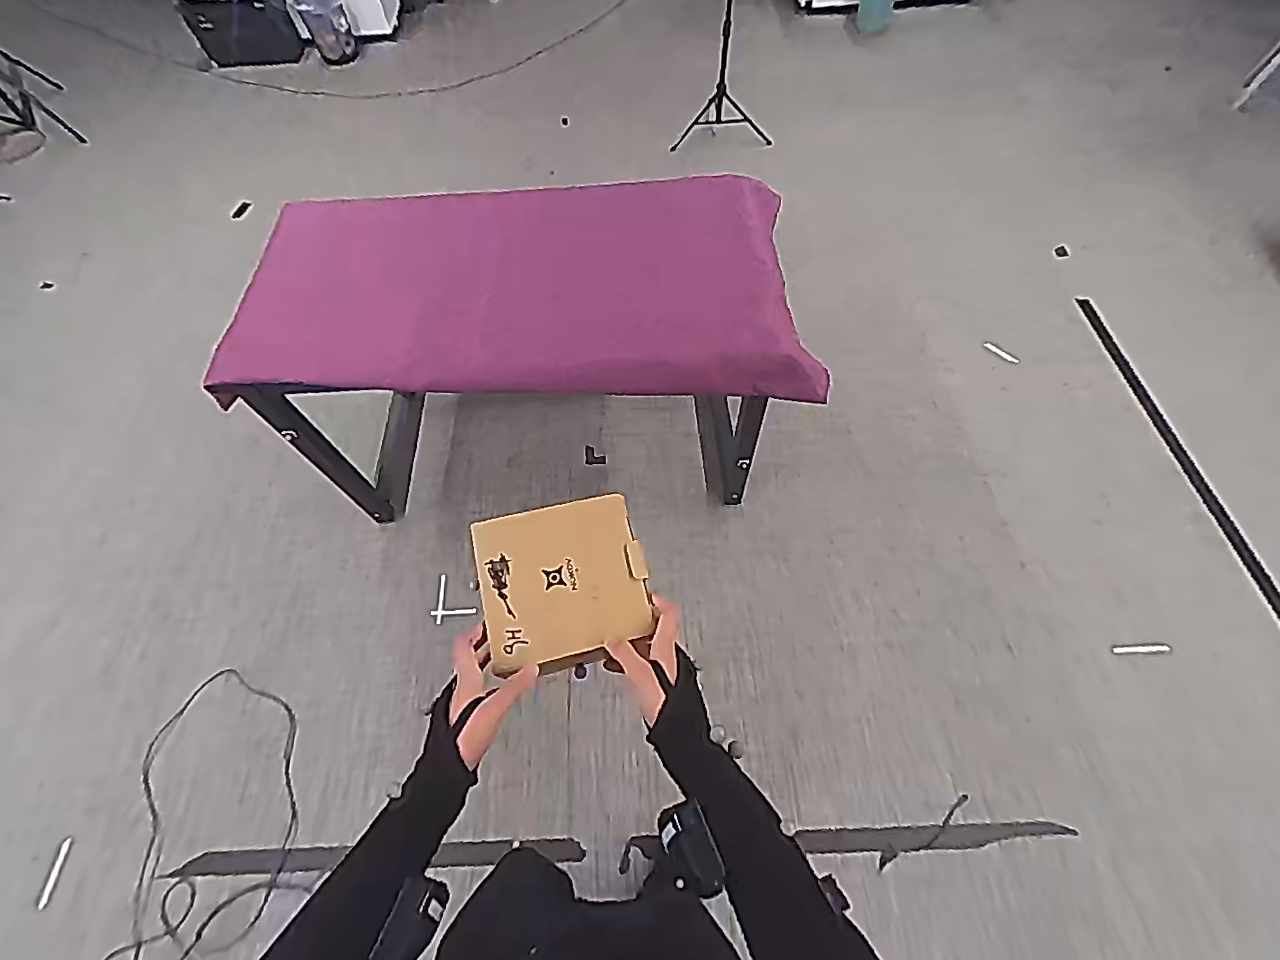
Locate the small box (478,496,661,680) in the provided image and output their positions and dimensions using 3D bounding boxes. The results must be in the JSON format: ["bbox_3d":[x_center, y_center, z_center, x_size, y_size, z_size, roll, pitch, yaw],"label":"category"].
[{"bbox_3d":[-0.088,0.137,0.655,0.179,0.176,0.168,-11,68,-11],"label":"small box"}]
